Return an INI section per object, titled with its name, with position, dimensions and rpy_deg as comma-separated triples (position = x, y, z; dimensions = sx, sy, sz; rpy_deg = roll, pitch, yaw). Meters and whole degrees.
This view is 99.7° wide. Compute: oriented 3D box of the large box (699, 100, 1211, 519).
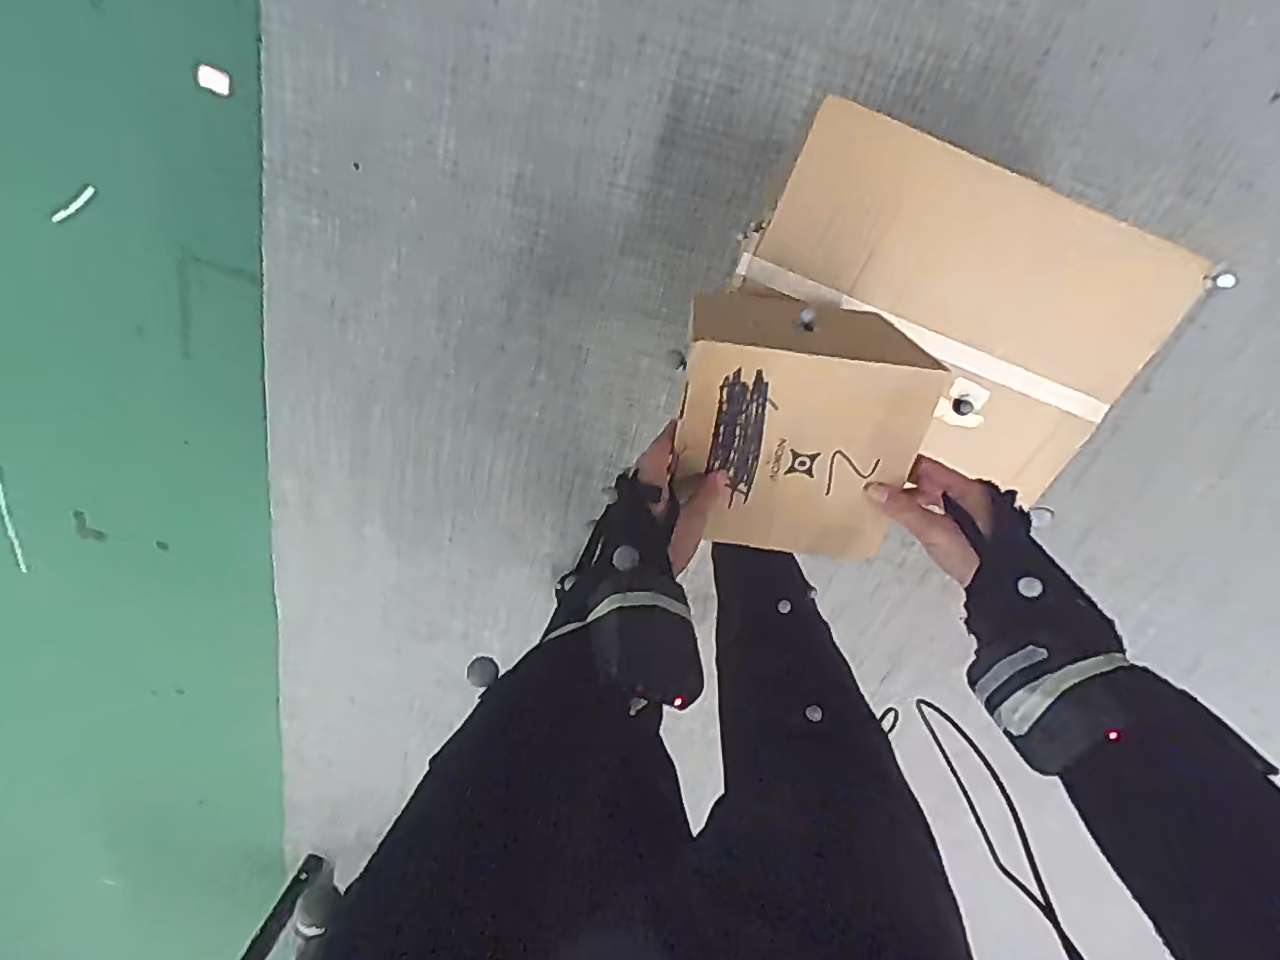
[large box]
position = 0.315, -0.210, 0.693
dimensions = 0.408, 0.320, 0.320
rpy_deg = 22, 116, -3
